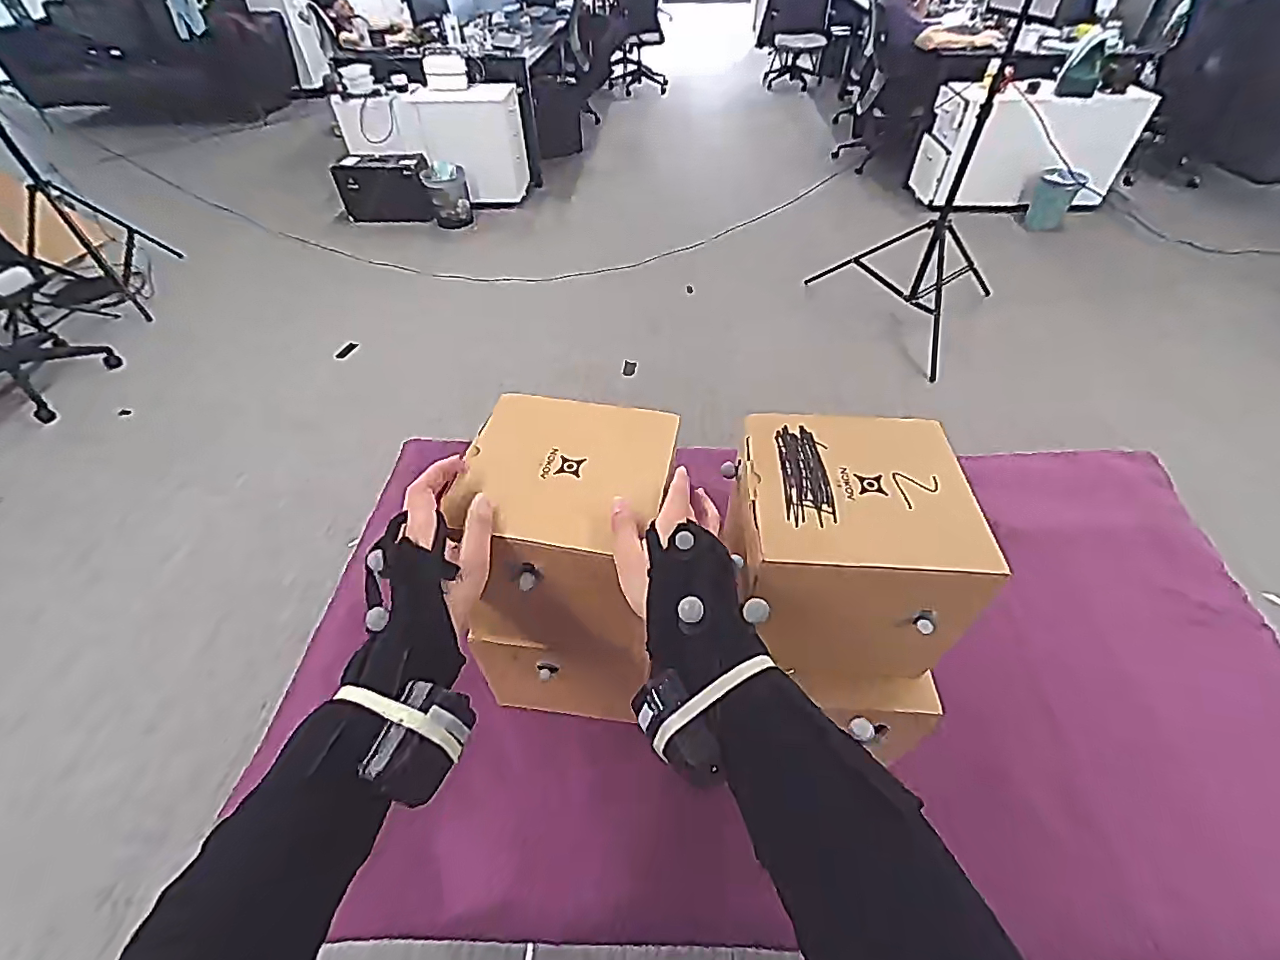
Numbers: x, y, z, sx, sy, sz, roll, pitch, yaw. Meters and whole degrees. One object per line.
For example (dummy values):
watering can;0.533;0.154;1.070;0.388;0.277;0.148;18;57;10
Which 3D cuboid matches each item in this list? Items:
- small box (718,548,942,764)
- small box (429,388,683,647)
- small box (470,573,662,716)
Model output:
small box;0.183;0.193;0.586;0.179;0.176;0.168;2;46;3
small box;-0.061;0.039;0.511;0.179;0.176;0.168;8;47;7
small box;-0.070;0.154;0.624;0.179;0.176;0.168;6;47;4
